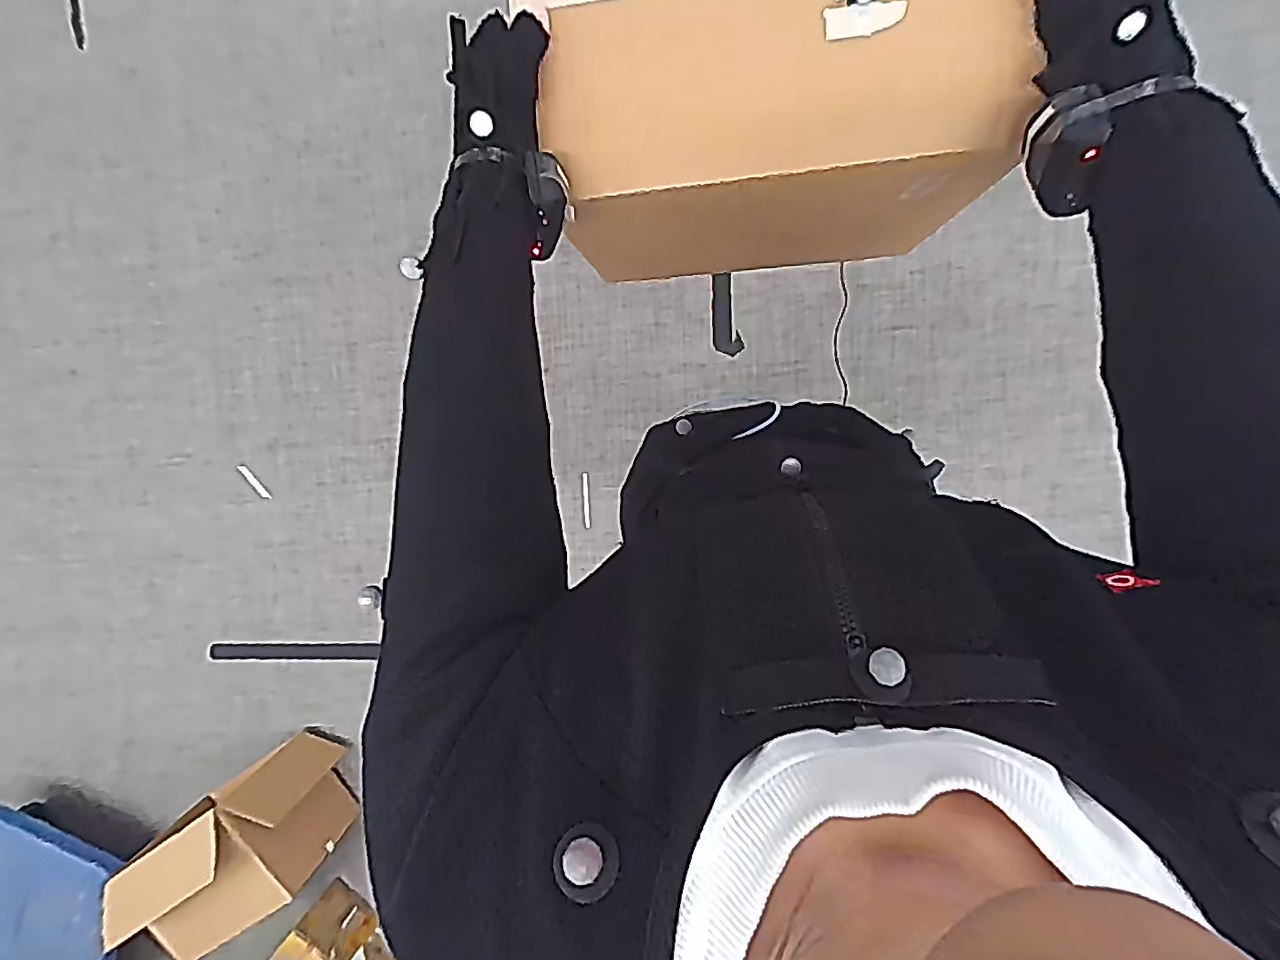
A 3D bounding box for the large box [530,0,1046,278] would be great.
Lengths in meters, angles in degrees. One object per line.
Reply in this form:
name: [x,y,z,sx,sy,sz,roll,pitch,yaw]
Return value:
large box: [0.119,-0.427,0.570,0.408,0.320,0.320,-3,98,7]
